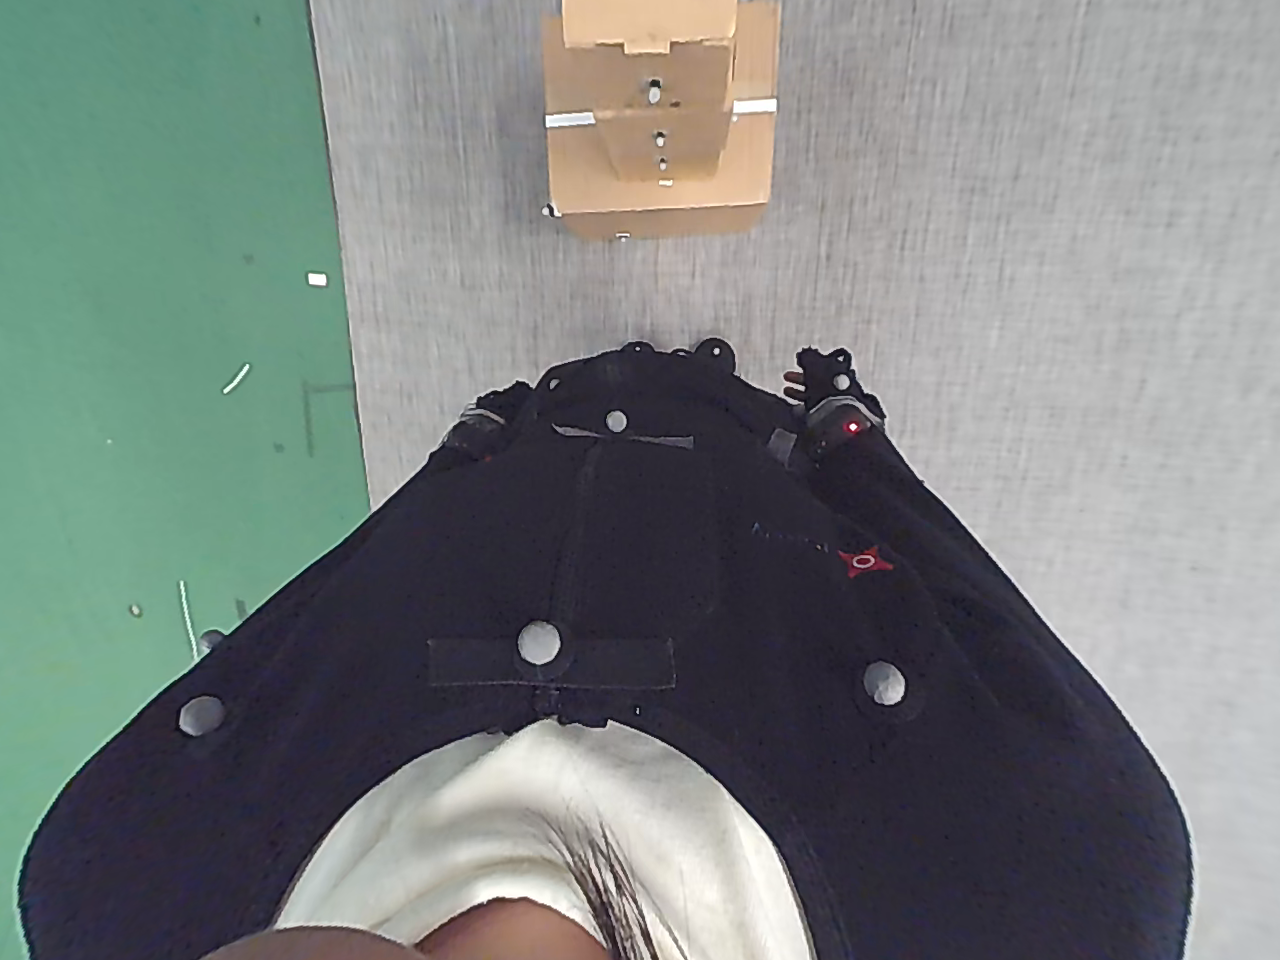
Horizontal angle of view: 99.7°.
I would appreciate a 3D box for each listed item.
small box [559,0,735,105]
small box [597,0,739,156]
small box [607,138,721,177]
[{"bbox_3d":[0.017,-0.517,0.563,0.168,0.176,0.179,4,107,6],"label":"small box"},{"bbox_3d":[0.035,-0.553,0.722,0.179,0.176,0.168,-2,106,6],"label":"small box"},{"bbox_3d":[0.045,-0.604,0.878,0.179,0.176,0.168,2,107,4],"label":"small box"}]
